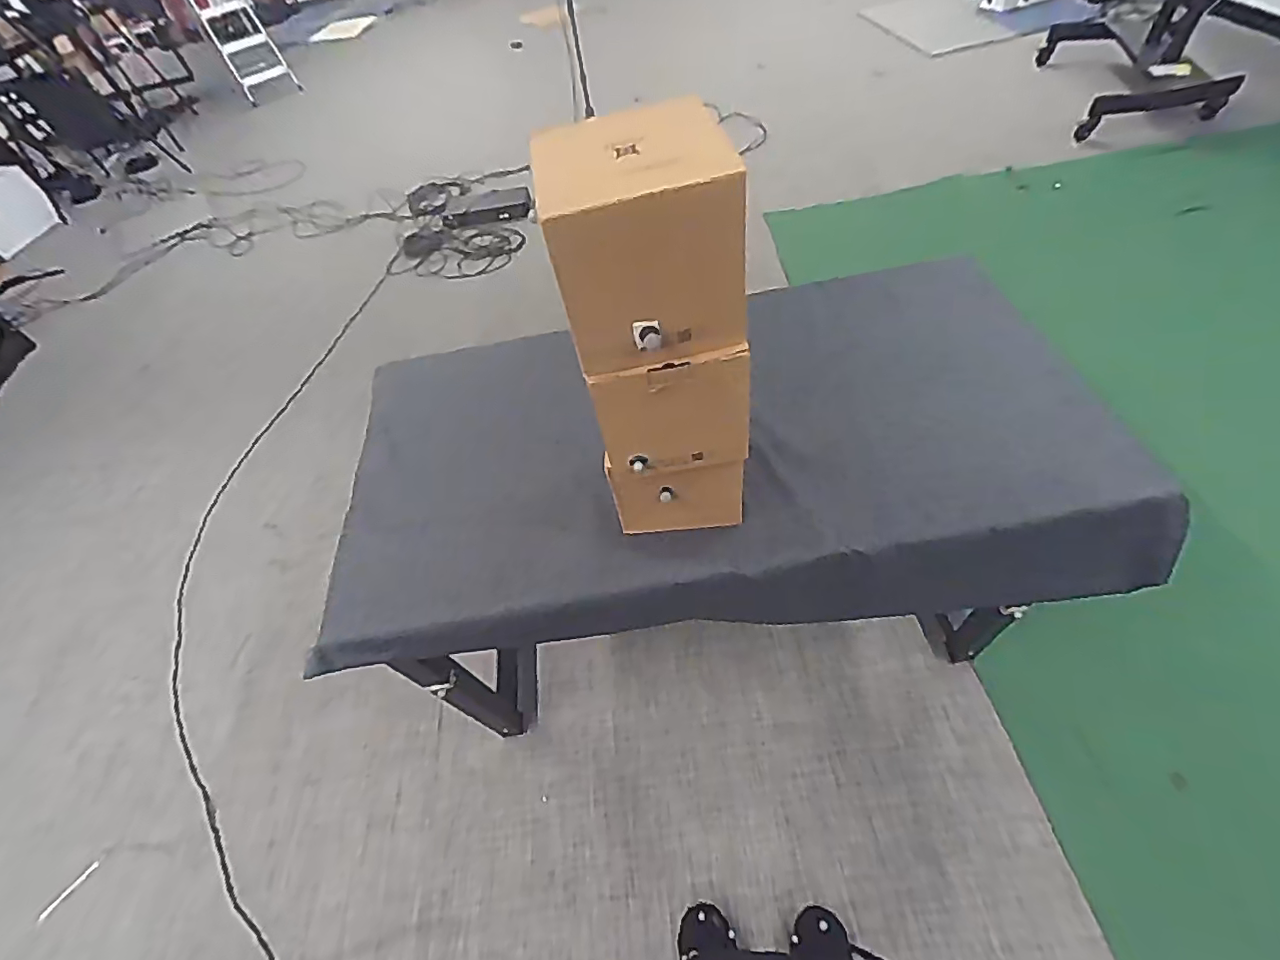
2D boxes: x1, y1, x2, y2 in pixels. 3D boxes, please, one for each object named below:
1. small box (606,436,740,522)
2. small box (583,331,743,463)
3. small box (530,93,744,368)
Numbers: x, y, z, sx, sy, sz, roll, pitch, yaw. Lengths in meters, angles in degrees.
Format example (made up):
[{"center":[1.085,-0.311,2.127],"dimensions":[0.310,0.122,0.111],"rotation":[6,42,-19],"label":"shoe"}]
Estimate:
[{"center":[0.049,-0.053,0.798],"dimensions":[0.179,0.176,0.168],"rotation":[-8,52,3],"label":"small box"},{"center":[0.025,-0.138,0.656],"dimensions":[0.168,0.176,0.179],"rotation":[-13,54,1],"label":"small box"},{"center":[-0.002,-0.240,0.533],"dimensions":[0.168,0.176,0.179],"rotation":[-14,54,1],"label":"small box"}]
